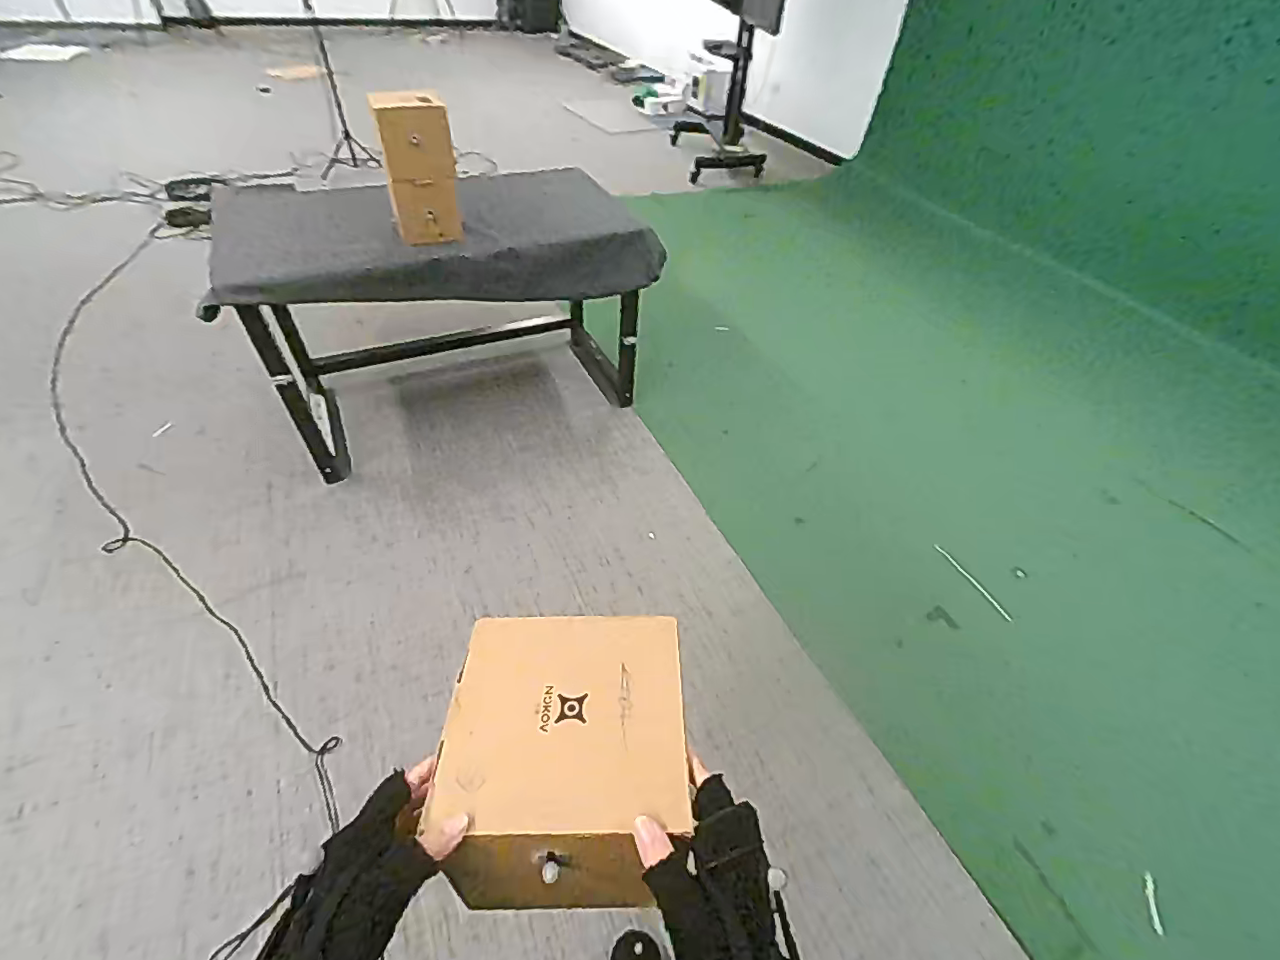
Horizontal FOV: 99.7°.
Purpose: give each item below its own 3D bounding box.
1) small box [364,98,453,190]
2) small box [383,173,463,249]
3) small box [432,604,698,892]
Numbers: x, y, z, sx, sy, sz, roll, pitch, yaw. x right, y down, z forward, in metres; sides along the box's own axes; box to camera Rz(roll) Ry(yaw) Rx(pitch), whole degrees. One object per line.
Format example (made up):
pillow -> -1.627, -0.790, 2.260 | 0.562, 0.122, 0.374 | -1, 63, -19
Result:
small box -> -0.612, -0.899, 1.449 | 0.179, 0.176, 0.168 | -19, 50, -18
small box -> -0.625, -0.785, 1.568 | 0.168, 0.176, 0.179 | -18, 50, -19
small box -> -0.048, 0.225, 0.457 | 0.179, 0.176, 0.168 | -2, 40, -1
